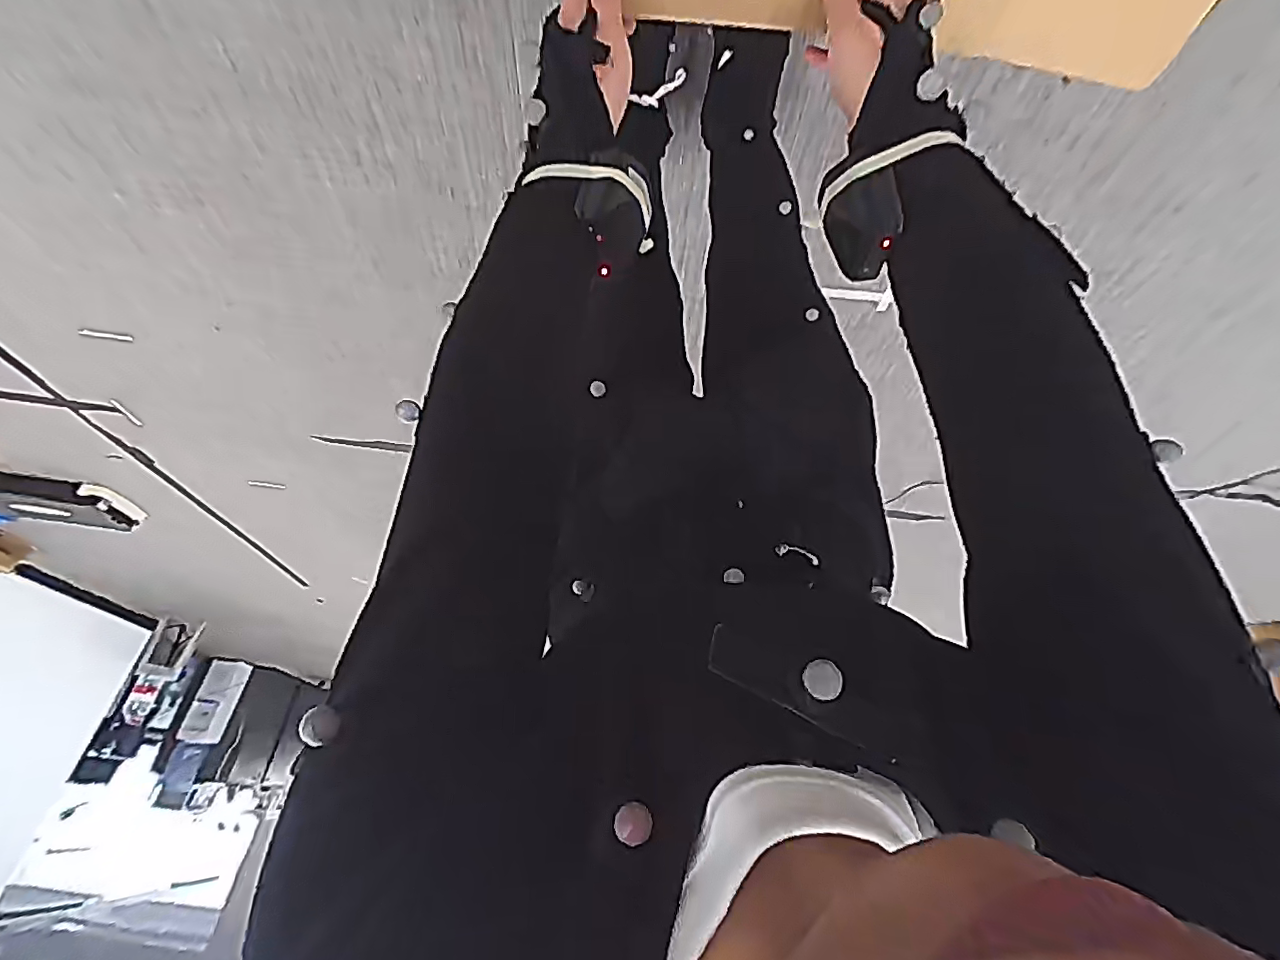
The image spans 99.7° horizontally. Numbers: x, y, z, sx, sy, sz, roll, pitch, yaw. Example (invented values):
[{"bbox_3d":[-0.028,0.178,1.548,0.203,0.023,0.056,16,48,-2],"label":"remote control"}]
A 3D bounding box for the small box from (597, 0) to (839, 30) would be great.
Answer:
[{"bbox_3d":[0.060,-0.430,0.349,0.168,0.176,0.179,5,144,1],"label":"small box"}]

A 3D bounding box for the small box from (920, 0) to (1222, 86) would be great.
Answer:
[{"bbox_3d":[0.301,-0.406,0.359,0.179,0.176,0.168,8,148,-3],"label":"small box"}]
